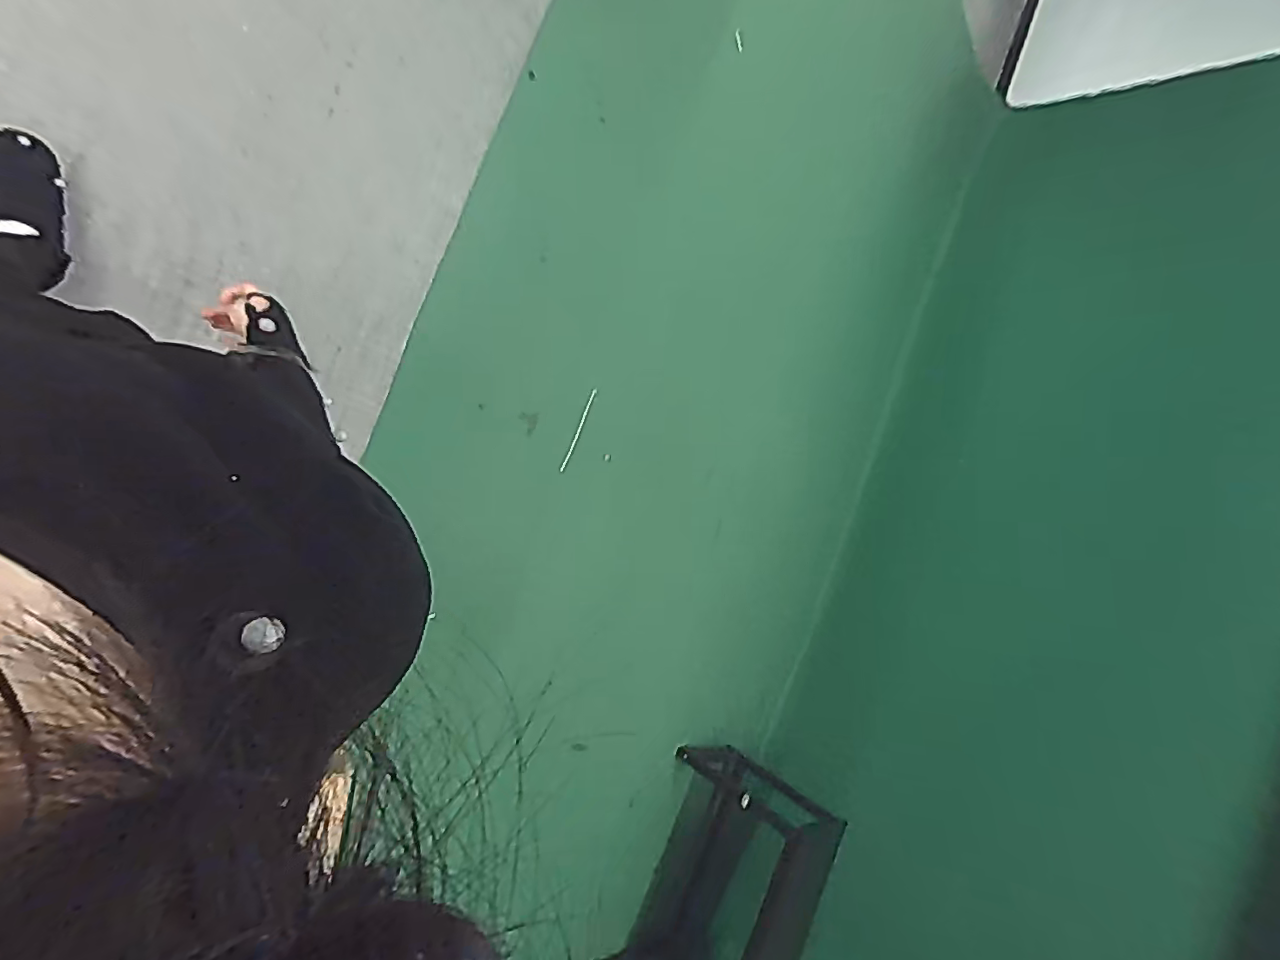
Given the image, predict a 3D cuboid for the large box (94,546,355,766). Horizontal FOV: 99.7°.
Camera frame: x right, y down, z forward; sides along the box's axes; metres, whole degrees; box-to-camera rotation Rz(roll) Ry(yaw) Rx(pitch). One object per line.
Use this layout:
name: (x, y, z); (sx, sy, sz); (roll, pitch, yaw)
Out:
large box: (-0.913, 0.343, 1.193); (0.408, 0.320, 0.320); (5, 101, -47)
